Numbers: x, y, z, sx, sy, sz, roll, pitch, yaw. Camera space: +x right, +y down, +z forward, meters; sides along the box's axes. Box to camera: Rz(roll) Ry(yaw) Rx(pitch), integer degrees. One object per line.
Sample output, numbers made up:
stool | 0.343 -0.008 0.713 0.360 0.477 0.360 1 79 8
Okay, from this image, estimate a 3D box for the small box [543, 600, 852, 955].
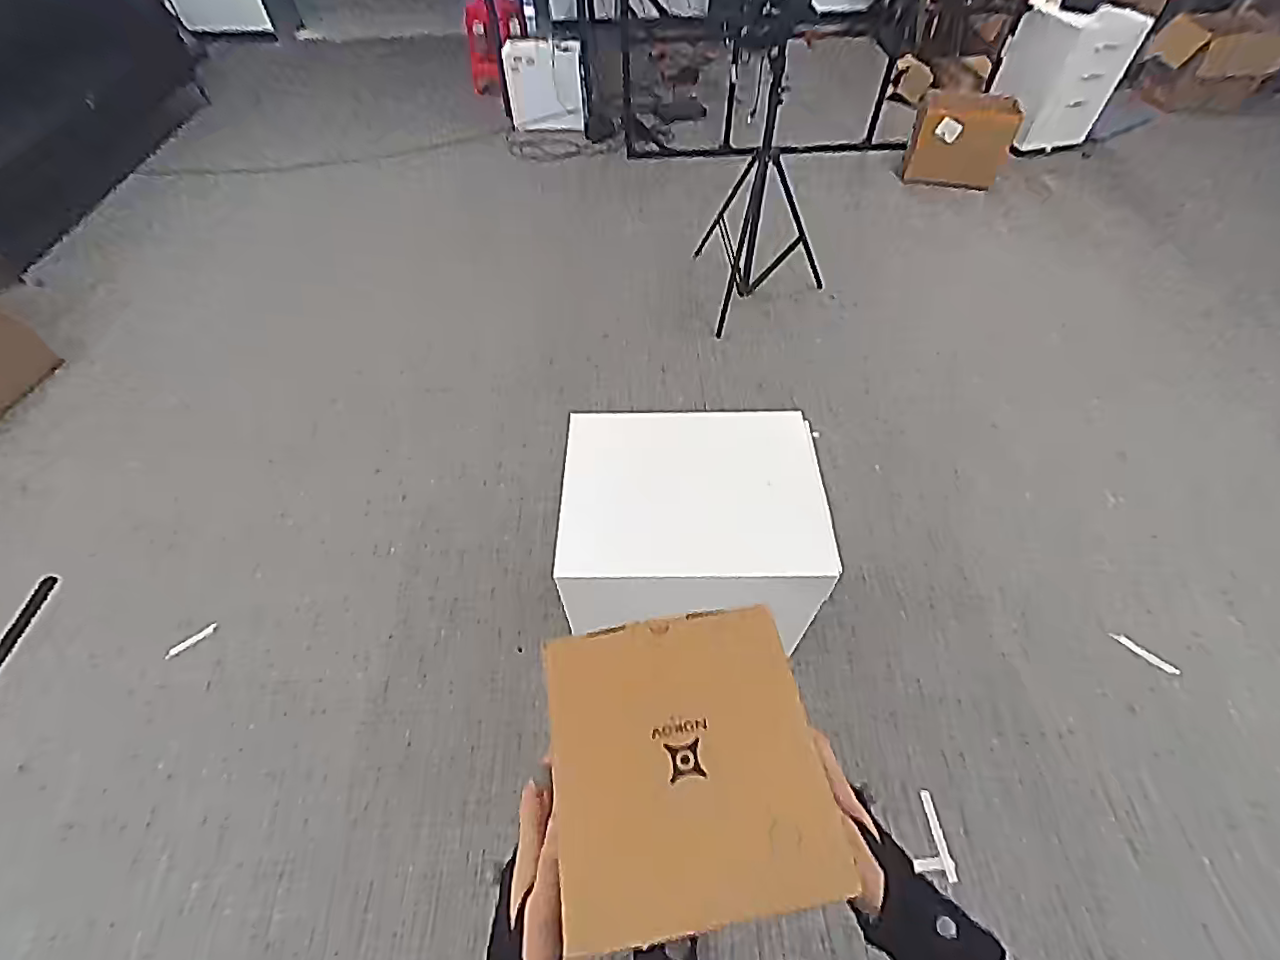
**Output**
small box | 0.027 0.215 0.402 0.168 0.176 0.179 -9 53 -5
